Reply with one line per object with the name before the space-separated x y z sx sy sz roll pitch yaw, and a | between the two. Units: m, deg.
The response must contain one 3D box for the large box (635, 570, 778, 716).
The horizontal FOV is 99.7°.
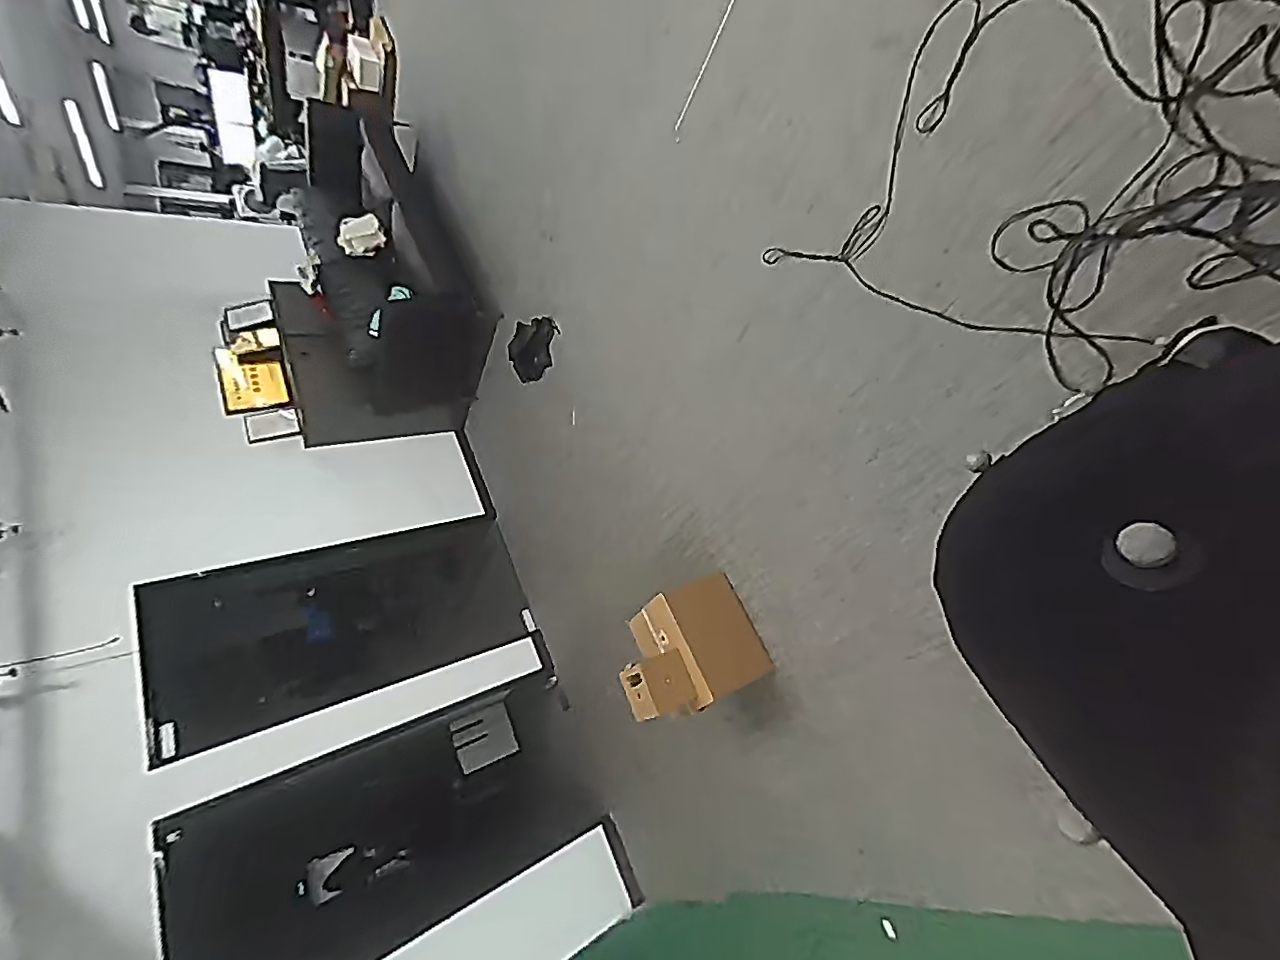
large box | 0.242 0.609 2.044 0.320 0.320 0.408 -53 56 47
